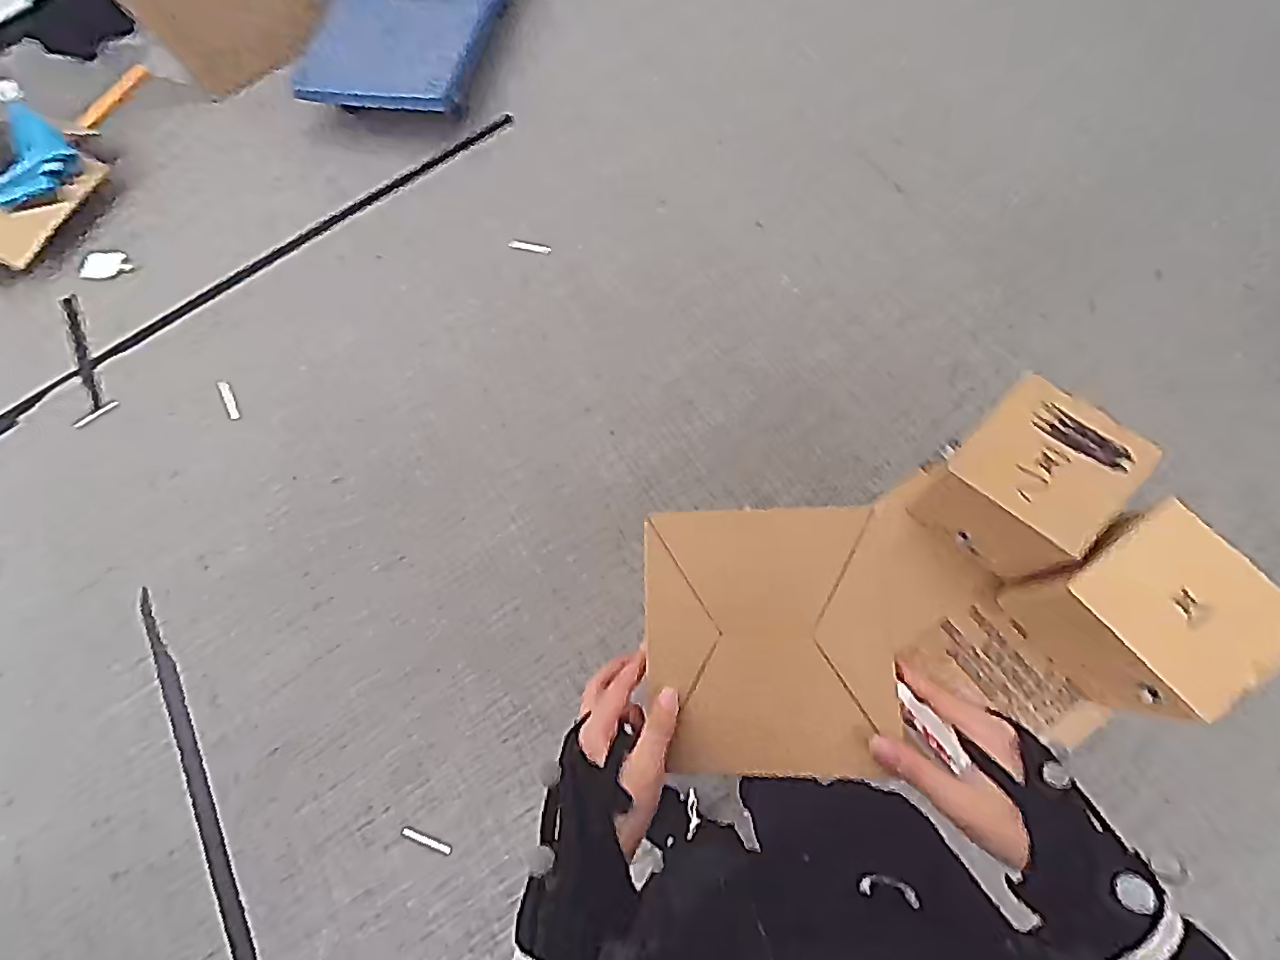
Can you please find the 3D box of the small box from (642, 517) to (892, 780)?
[{"bbox_3d":[0.092,0.136,0.448,0.168,0.176,0.179,-2,75,6],"label":"small box"}]
